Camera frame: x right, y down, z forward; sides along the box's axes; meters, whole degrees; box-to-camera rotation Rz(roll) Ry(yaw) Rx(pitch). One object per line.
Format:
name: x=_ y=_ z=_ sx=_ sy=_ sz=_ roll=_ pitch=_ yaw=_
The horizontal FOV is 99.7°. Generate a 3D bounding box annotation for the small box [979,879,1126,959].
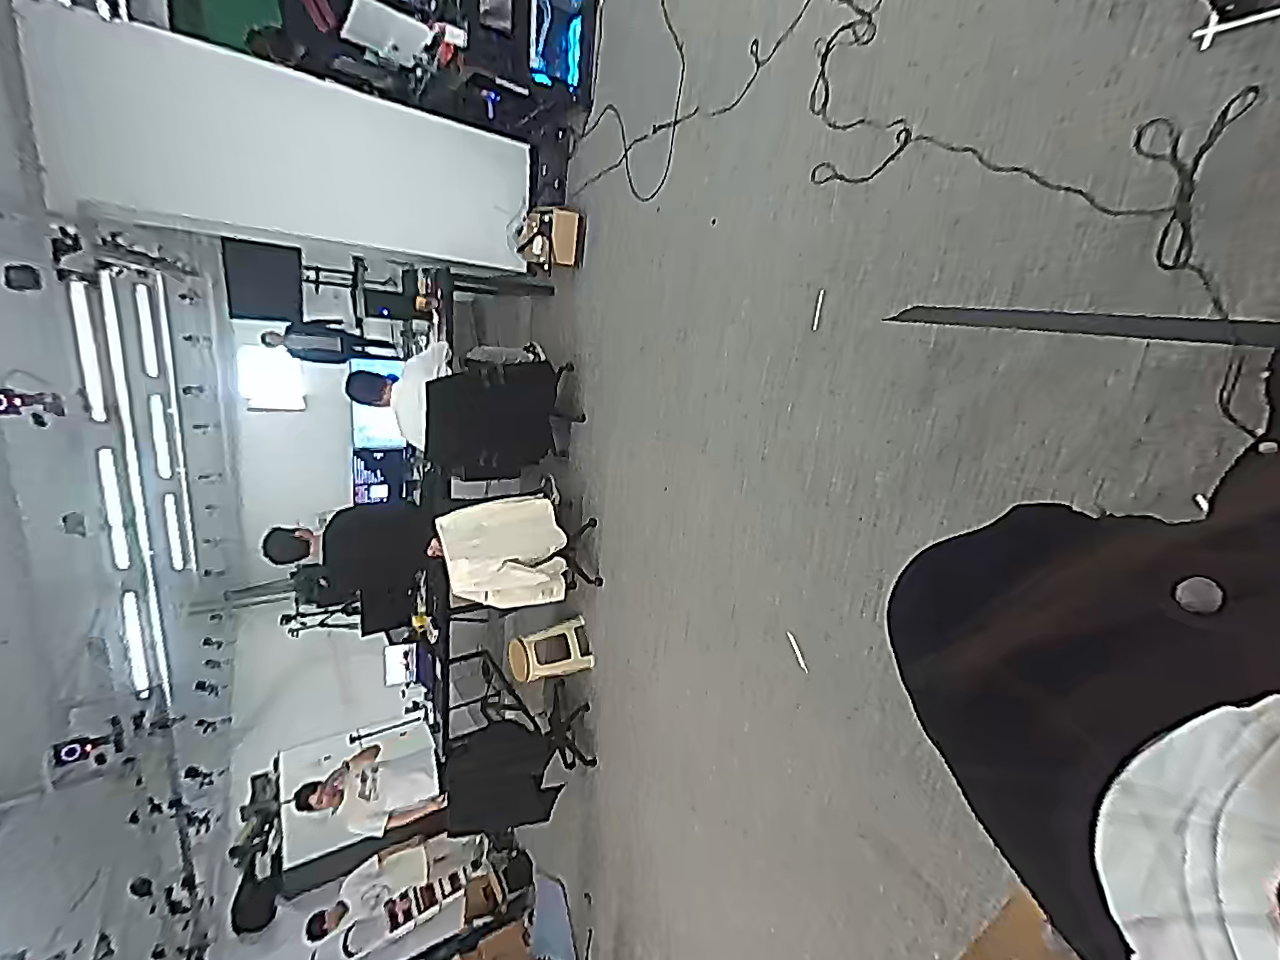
small box: x=0.682 y=0.841 z=0.914 sx=0.168 sy=0.176 sz=0.179 roll=21 pitch=112 yaw=51

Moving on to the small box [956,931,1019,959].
small box: x=0.548 y=0.854 z=0.819 sx=0.168 sy=0.176 sz=0.179 roll=23 pitch=113 yaw=51
